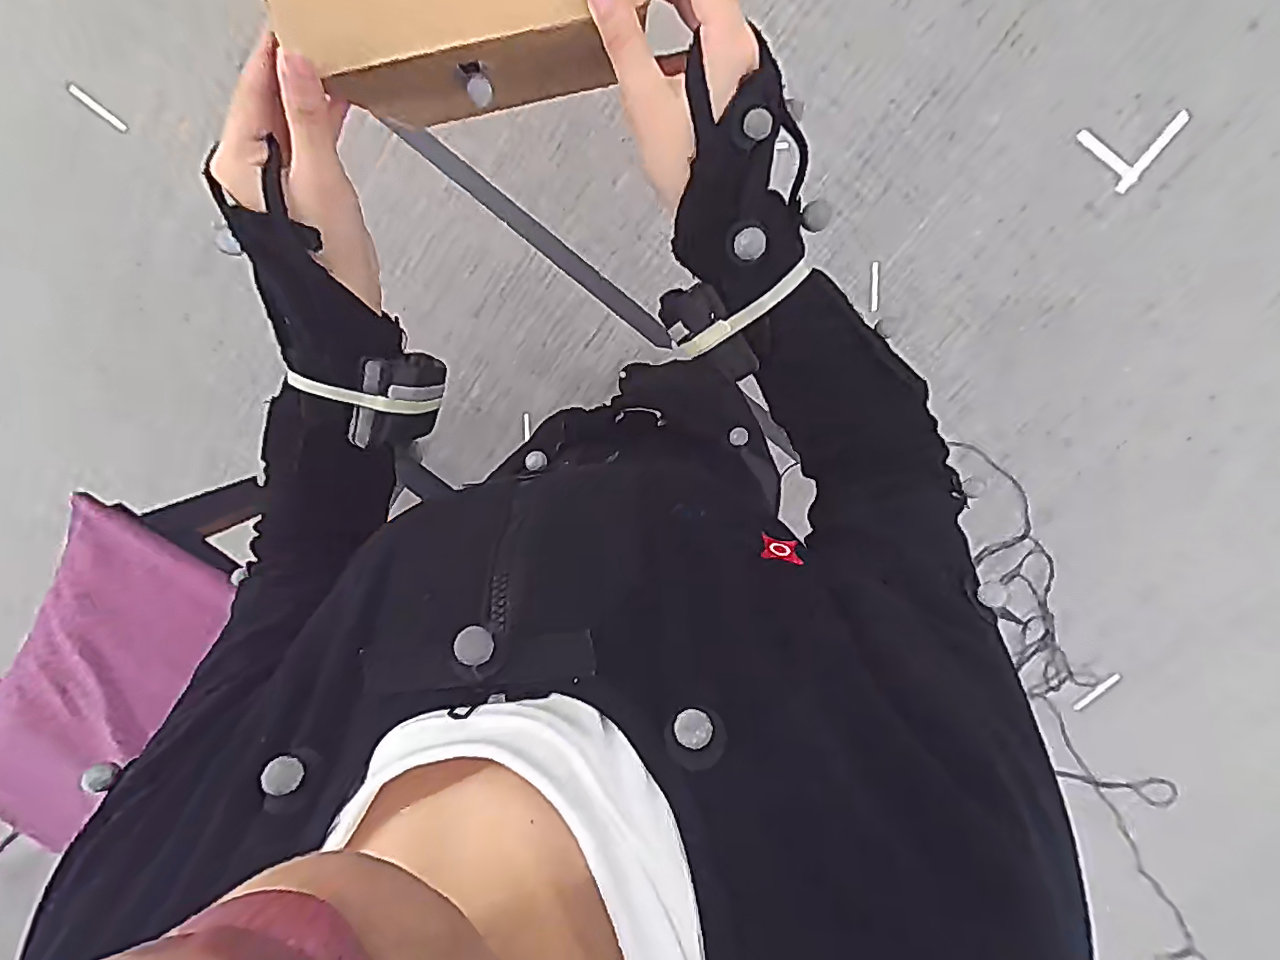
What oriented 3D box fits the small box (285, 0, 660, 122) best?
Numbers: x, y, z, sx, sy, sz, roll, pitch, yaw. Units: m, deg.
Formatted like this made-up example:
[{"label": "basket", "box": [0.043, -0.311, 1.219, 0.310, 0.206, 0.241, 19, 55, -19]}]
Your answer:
[{"label": "small box", "box": [-0.090, -0.316, 0.298, 0.179, 0.176, 0.168, -9, 117, 4]}]
